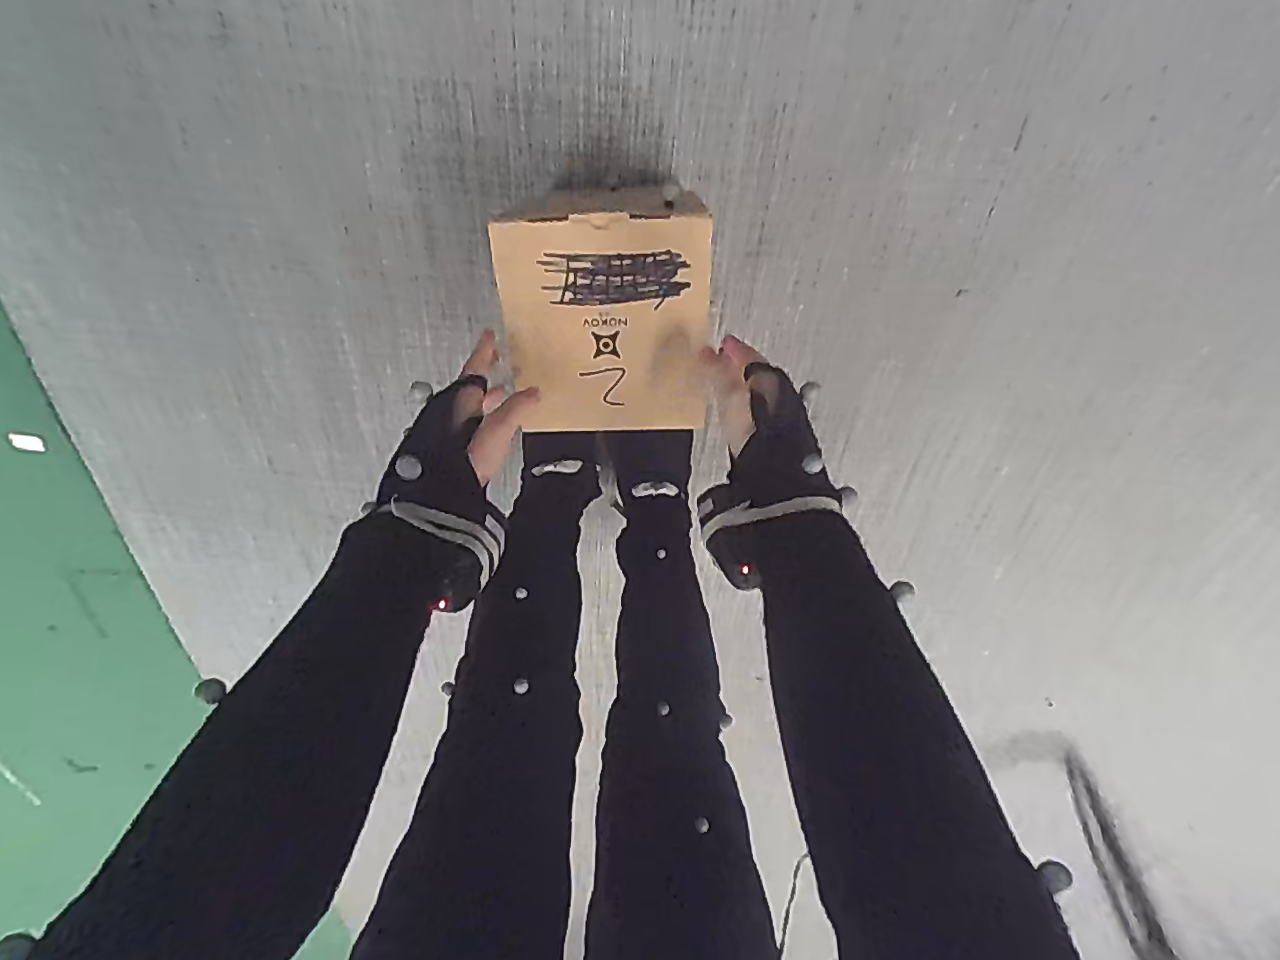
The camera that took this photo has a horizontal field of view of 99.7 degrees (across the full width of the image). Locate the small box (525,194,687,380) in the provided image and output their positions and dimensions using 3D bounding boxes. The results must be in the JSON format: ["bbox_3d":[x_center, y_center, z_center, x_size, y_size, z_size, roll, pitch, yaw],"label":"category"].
[{"bbox_3d":[-0.030,-0.234,0.648,0.168,0.176,0.179,-2,123,2],"label":"small box"}]
